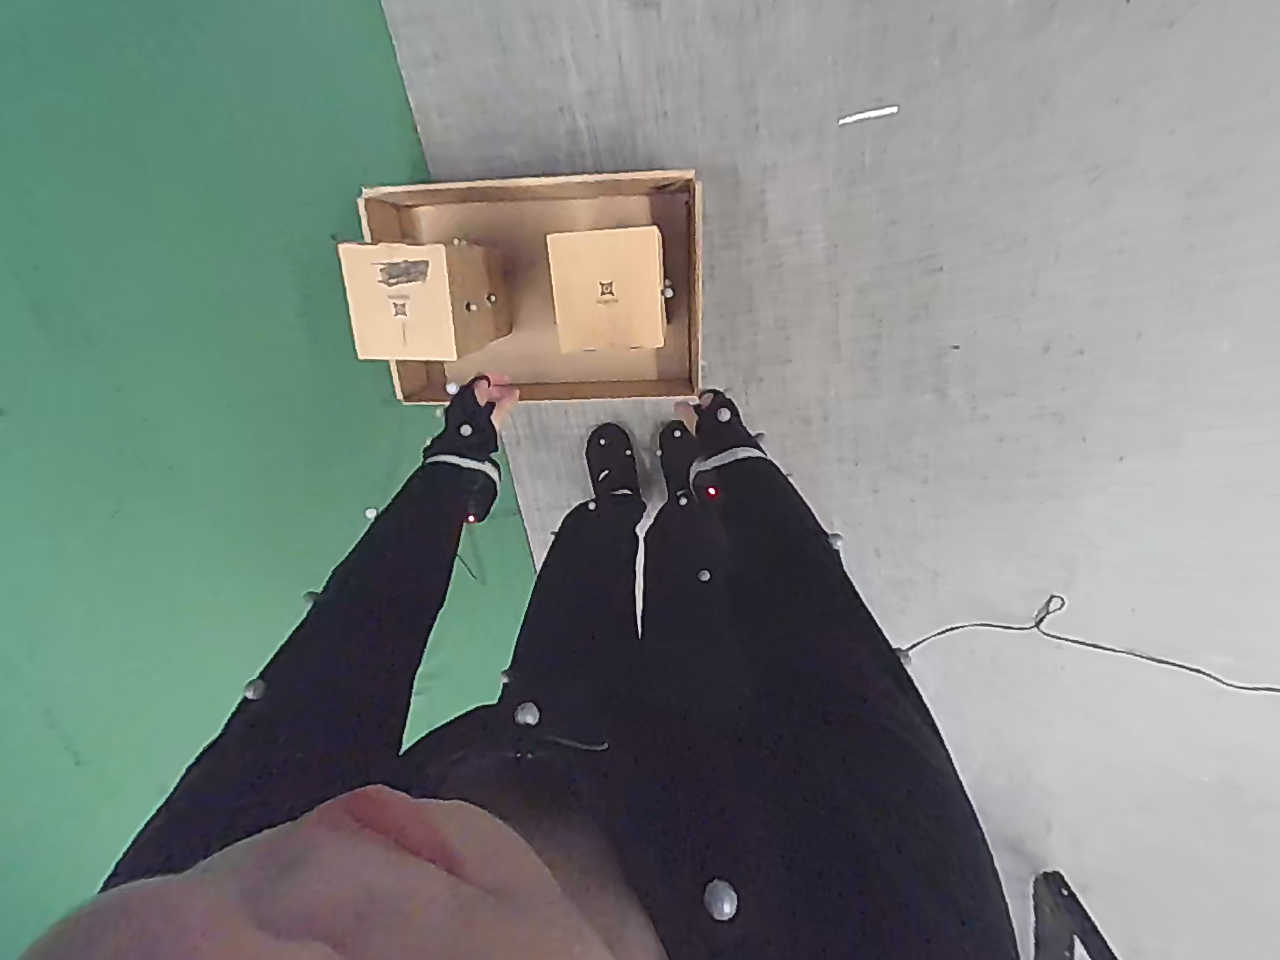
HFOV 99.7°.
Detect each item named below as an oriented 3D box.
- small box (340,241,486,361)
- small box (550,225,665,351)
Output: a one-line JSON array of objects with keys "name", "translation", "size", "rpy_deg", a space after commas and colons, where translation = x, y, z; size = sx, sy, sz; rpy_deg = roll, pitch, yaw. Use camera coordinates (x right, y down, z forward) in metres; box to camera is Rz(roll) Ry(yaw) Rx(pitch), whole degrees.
[{"name": "small box", "translation": [-0.369, -0.303, 0.912], "size": [0.168, 0.176, 0.179], "rpy_deg": [2, 112, 1]}, {"name": "small box", "translation": [-0.044, -0.314, 0.890], "size": [0.168, 0.176, 0.179], "rpy_deg": [-1, 112, 4]}]
